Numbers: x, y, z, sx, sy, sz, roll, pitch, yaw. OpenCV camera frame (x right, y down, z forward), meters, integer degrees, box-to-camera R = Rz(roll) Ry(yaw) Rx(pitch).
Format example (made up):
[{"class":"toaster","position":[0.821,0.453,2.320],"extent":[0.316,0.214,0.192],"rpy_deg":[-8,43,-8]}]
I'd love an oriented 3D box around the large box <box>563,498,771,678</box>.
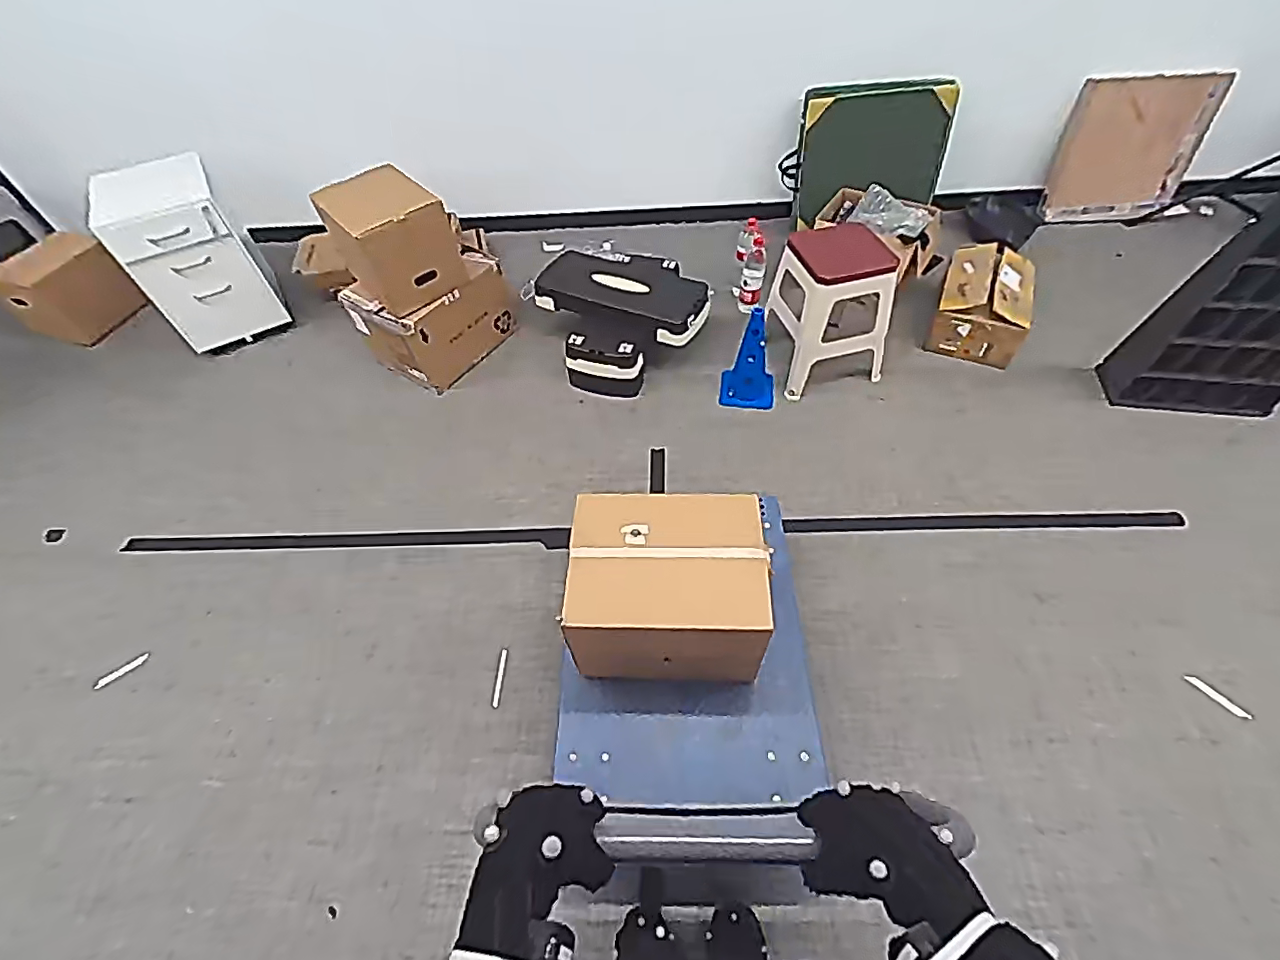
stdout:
[{"class":"large box","position":[0.063,0.256,1.233],"extent":[0.408,0.320,0.320],"rpy_deg":[-1,52,4]}]
